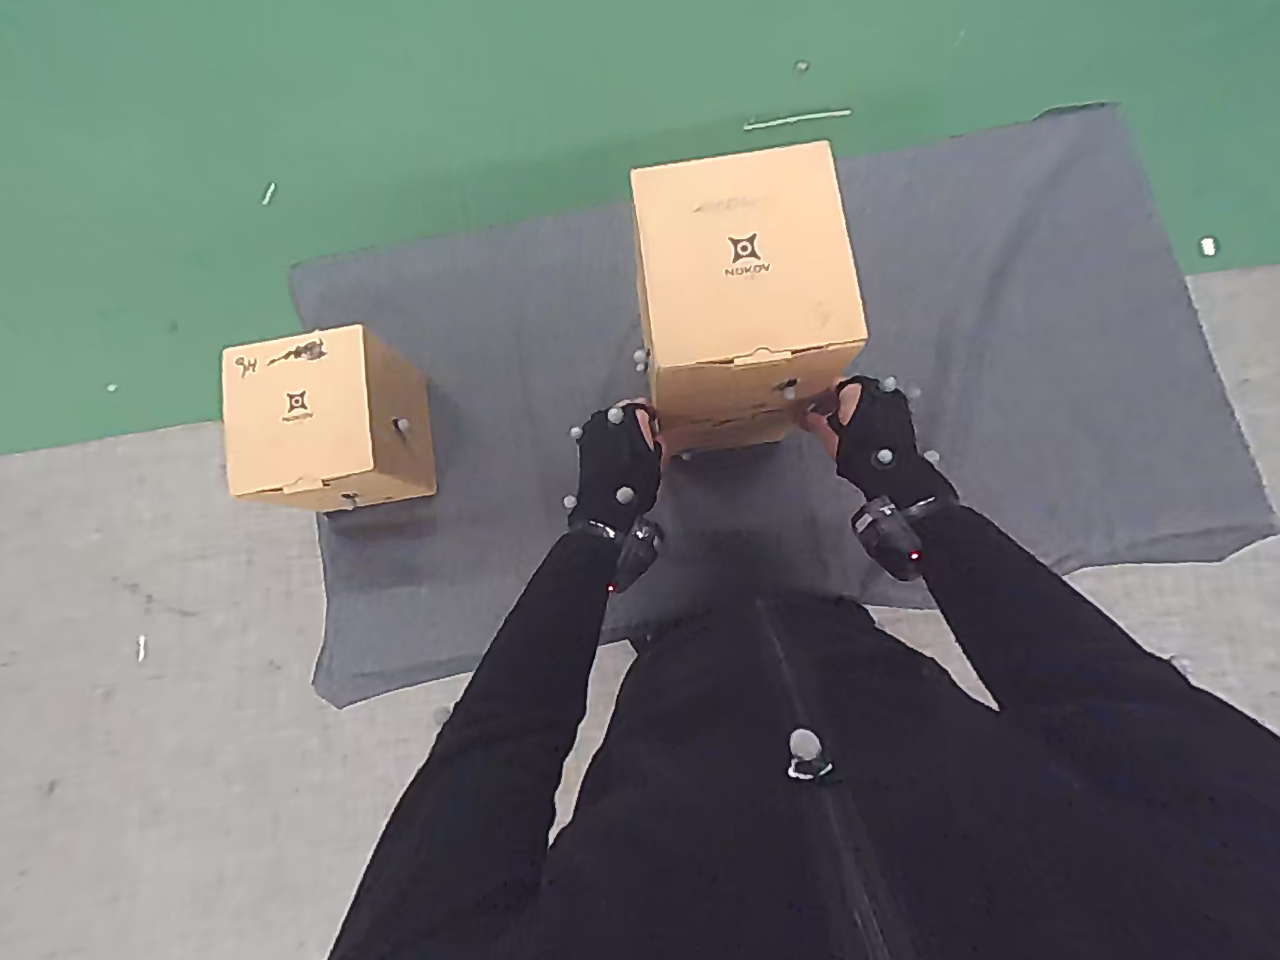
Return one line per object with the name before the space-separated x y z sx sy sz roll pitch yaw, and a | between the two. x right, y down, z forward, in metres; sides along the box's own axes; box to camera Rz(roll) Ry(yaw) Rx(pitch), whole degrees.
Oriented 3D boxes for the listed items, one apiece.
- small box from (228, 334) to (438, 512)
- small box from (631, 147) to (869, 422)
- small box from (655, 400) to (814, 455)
small box | -0.369 -0.058 0.677 0.168 0.176 0.179 -10 81 1
small box | 0.087 -0.160 0.501 0.168 0.176 0.179 -8 80 1
small box | 0.098 -0.134 0.661 0.168 0.176 0.179 -9 80 2
